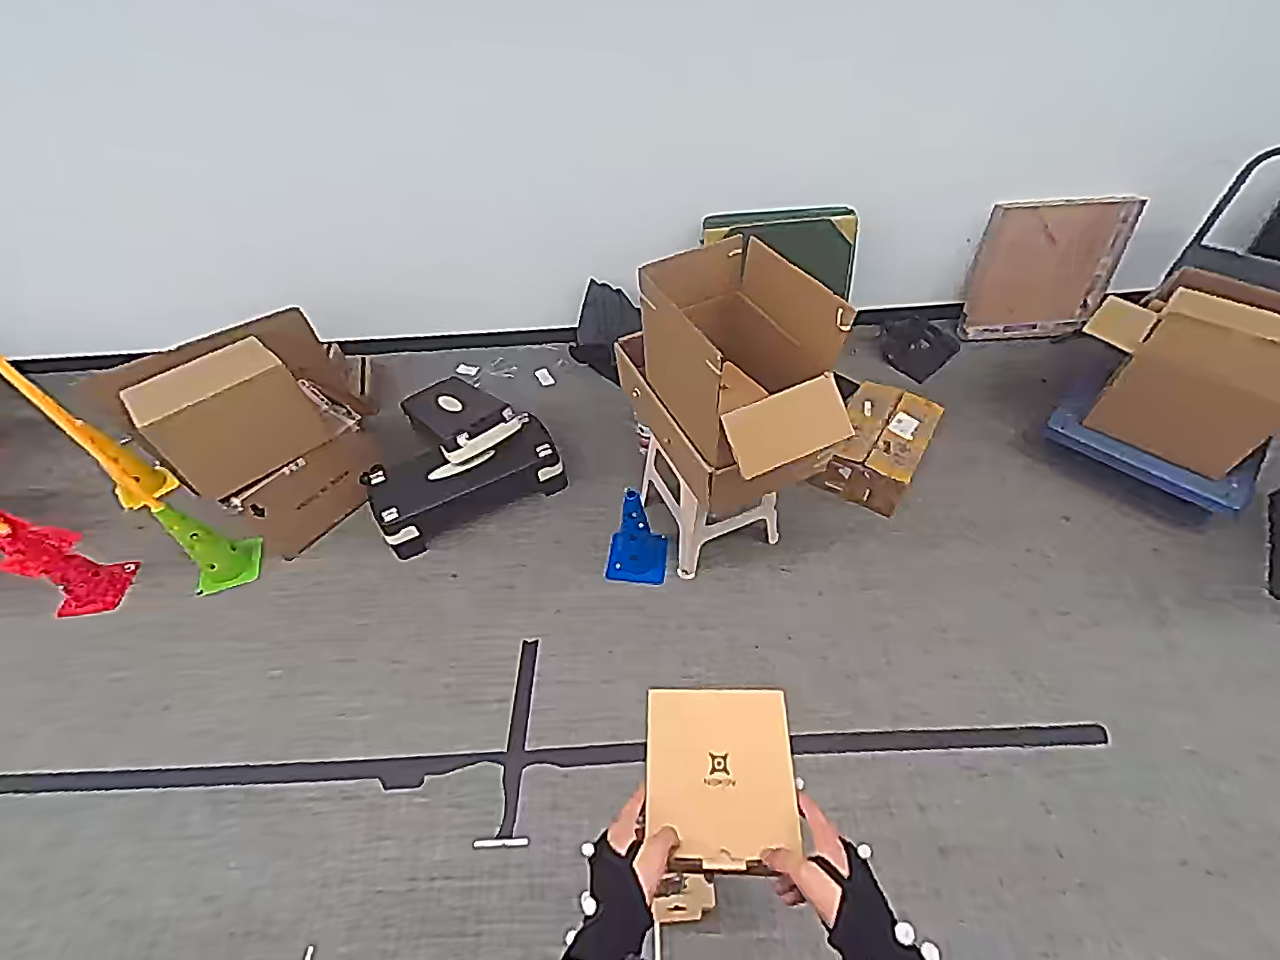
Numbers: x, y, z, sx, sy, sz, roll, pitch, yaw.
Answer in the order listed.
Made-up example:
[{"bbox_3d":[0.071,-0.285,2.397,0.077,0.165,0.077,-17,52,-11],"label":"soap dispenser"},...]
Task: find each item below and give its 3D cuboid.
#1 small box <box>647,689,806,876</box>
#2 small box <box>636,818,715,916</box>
[{"bbox_3d":[0.096,0.374,0.667,0.168,0.176,0.179,-1,52,4],"label":"small box"},{"bbox_3d":[0.079,0.891,1.247,0.168,0.176,0.179,-4,49,0],"label":"small box"}]
